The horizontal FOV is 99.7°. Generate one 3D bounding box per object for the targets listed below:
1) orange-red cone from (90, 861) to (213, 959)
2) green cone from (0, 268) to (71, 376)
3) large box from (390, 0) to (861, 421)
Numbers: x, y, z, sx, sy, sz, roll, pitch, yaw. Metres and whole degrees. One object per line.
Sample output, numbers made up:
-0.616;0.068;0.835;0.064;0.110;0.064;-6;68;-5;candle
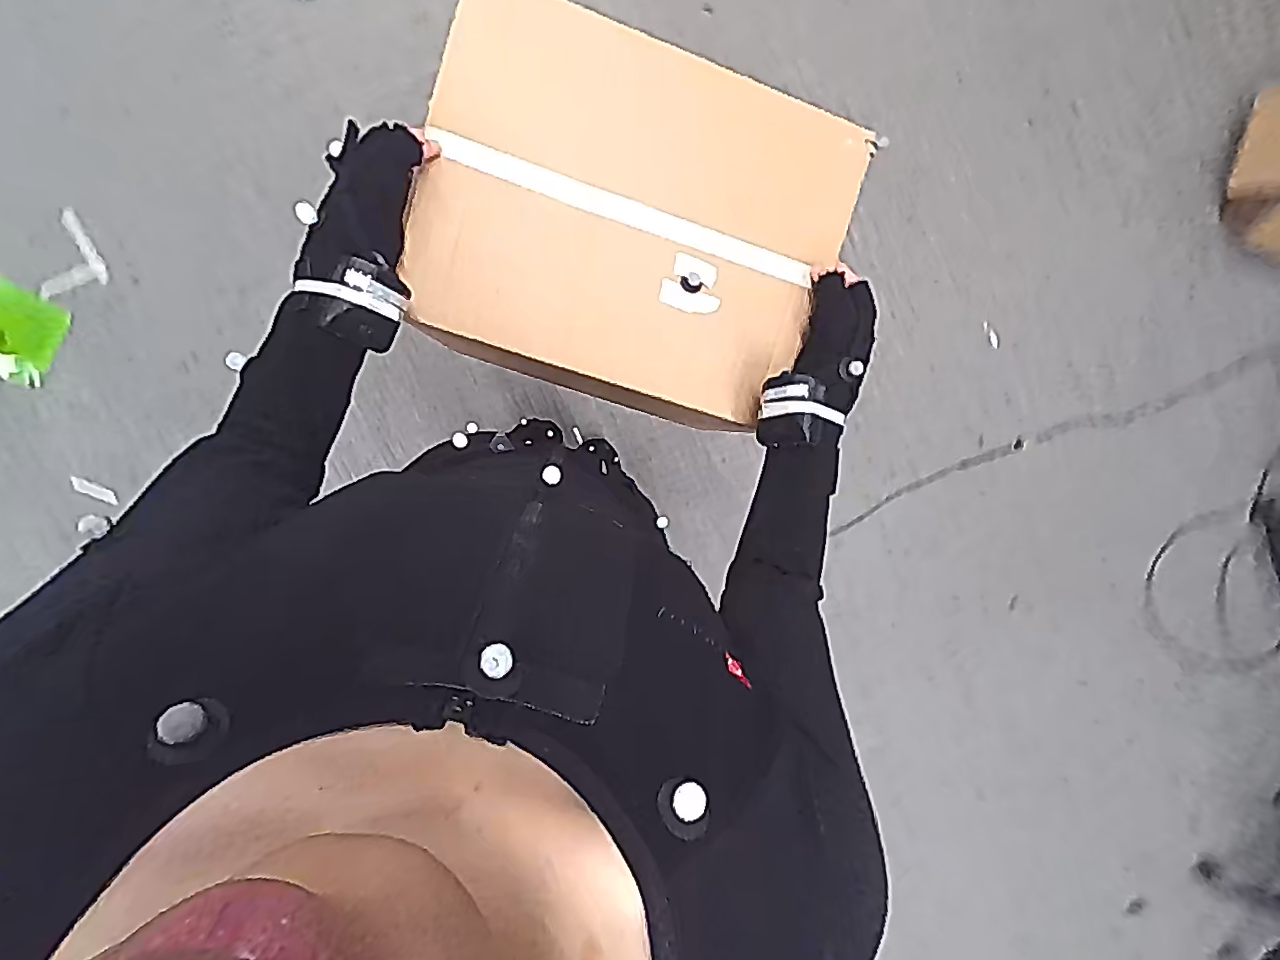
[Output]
-1.260;1.152;1.285;0.199;0.360;0.198;-26;99;-5;orange-red cone
-1.466;-0.362;1.112;0.202;0.368;0.200;29;91;-7;green cone
-0.027;-0.272;0.664;0.408;0.320;0.320;15;94;-10;large box
